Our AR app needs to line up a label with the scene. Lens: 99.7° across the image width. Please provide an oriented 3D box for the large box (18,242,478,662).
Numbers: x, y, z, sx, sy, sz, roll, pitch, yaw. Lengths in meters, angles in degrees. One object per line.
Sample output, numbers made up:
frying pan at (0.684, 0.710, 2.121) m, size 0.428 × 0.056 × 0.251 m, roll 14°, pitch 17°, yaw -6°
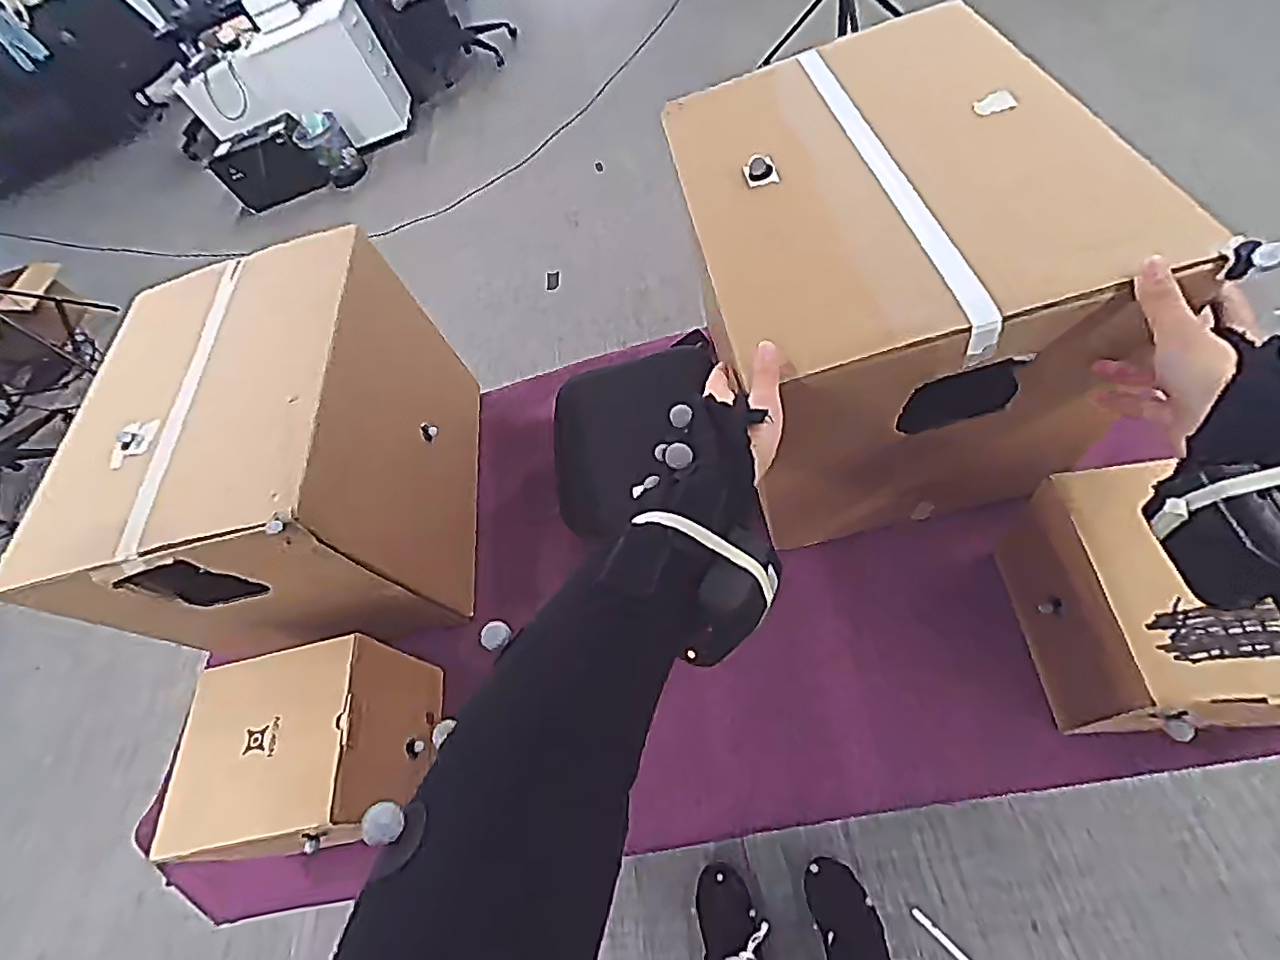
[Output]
large box at (-0.422, -0.018, 0.700) m, size 0.320 × 0.320 × 0.408 m, roll -14°, pitch 60°, yaw 8°
